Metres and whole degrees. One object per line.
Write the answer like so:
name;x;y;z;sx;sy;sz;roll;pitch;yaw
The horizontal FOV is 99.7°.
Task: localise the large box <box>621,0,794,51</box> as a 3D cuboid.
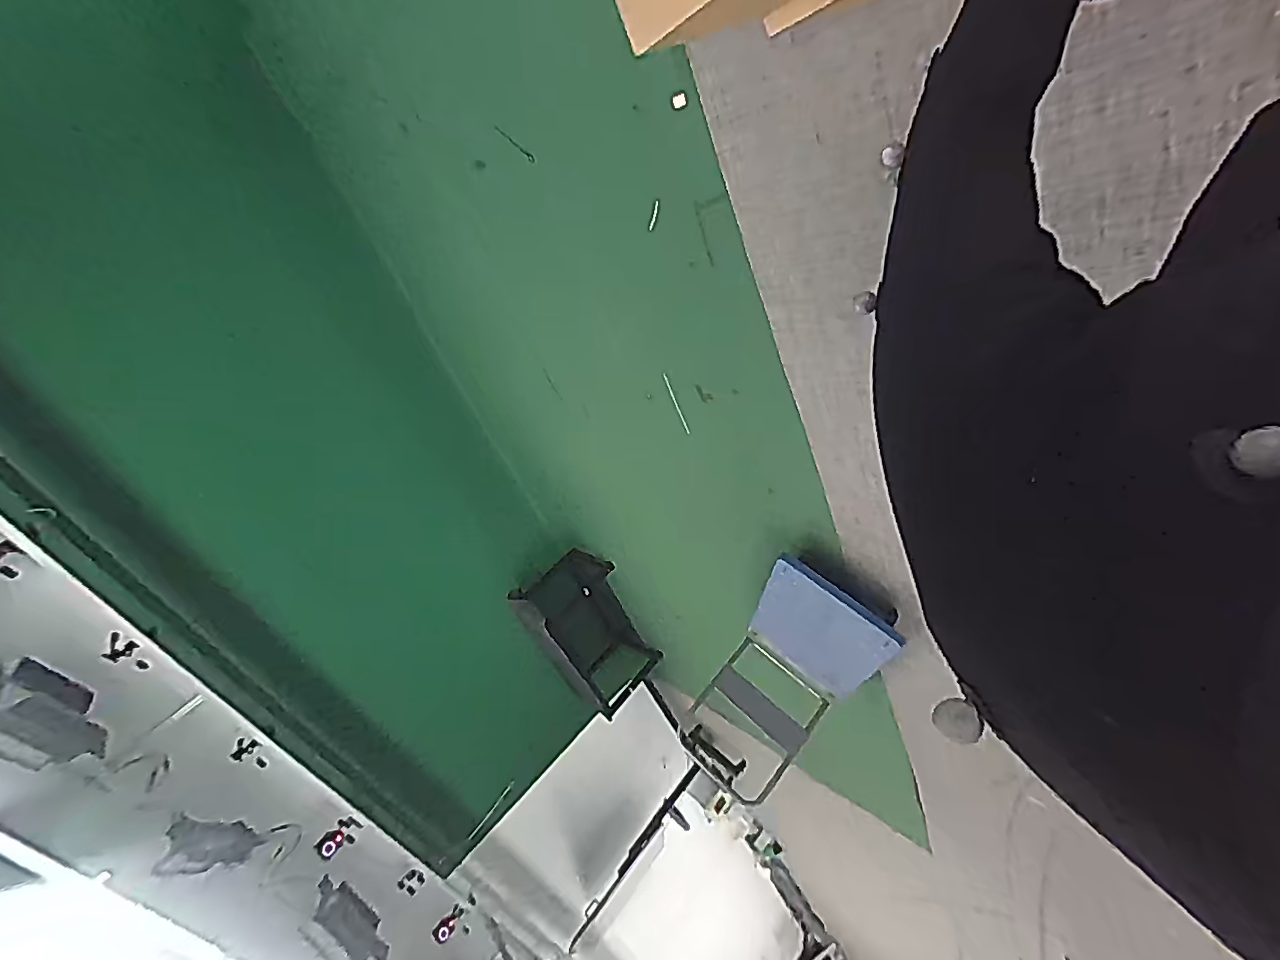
large box;0.171;-0.865;0.722;0.408;0.320;0.320;11;132;50
